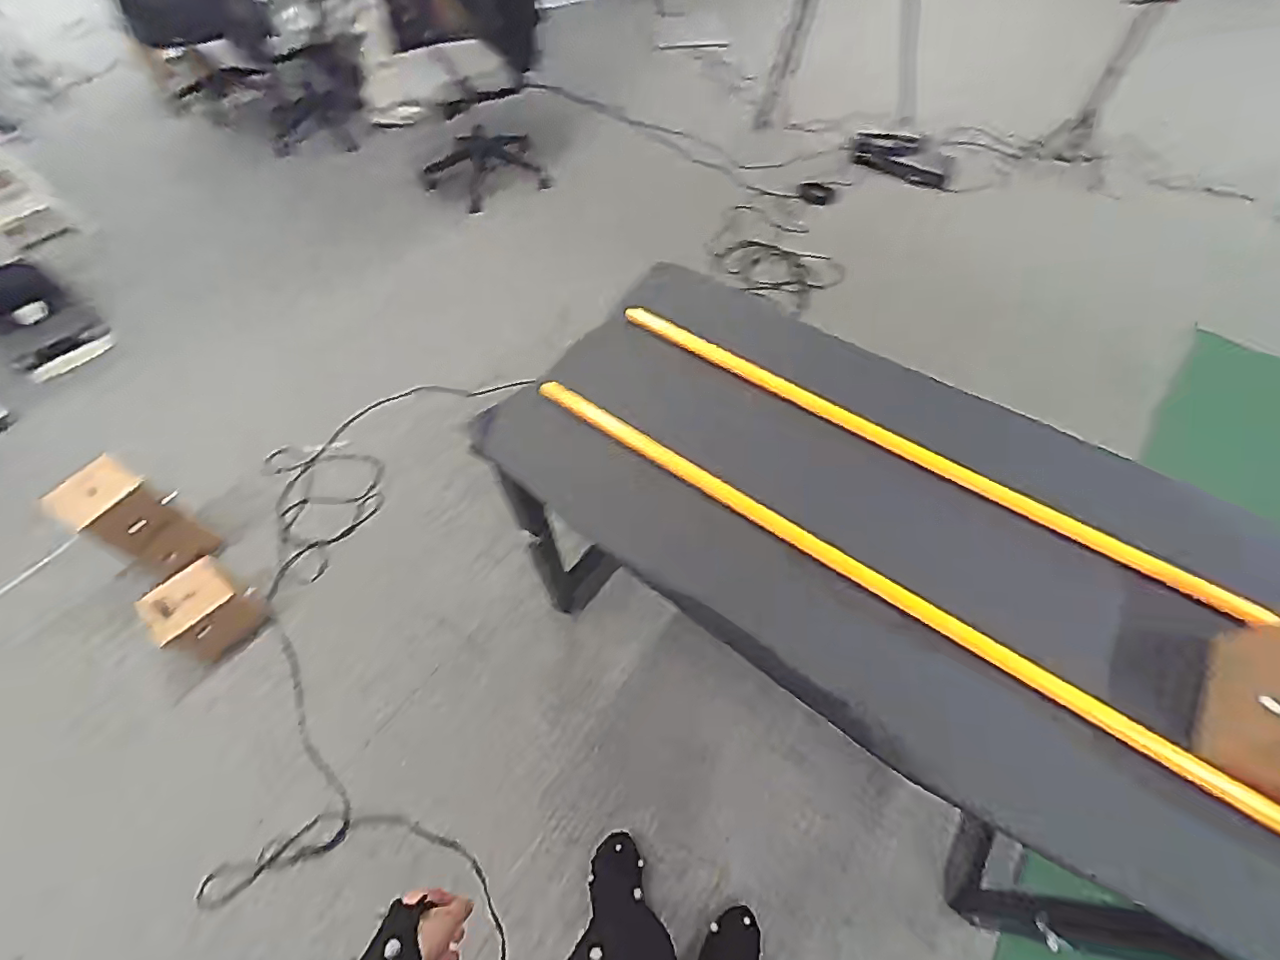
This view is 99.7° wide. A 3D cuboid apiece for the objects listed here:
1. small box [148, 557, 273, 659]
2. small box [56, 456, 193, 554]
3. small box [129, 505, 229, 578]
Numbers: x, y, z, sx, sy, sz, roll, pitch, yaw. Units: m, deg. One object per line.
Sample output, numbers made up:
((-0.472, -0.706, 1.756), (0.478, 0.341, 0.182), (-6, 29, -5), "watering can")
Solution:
((-1.138, 0.347, 1.445), (0.168, 0.176, 0.179), (38, 64, 23), "small box")
((-1.357, 0.073, 1.438), (0.179, 0.176, 0.168), (27, 61, 19), "small box")
((-1.363, 0.164, 1.575), (0.179, 0.176, 0.168), (29, 62, 20), "small box")
